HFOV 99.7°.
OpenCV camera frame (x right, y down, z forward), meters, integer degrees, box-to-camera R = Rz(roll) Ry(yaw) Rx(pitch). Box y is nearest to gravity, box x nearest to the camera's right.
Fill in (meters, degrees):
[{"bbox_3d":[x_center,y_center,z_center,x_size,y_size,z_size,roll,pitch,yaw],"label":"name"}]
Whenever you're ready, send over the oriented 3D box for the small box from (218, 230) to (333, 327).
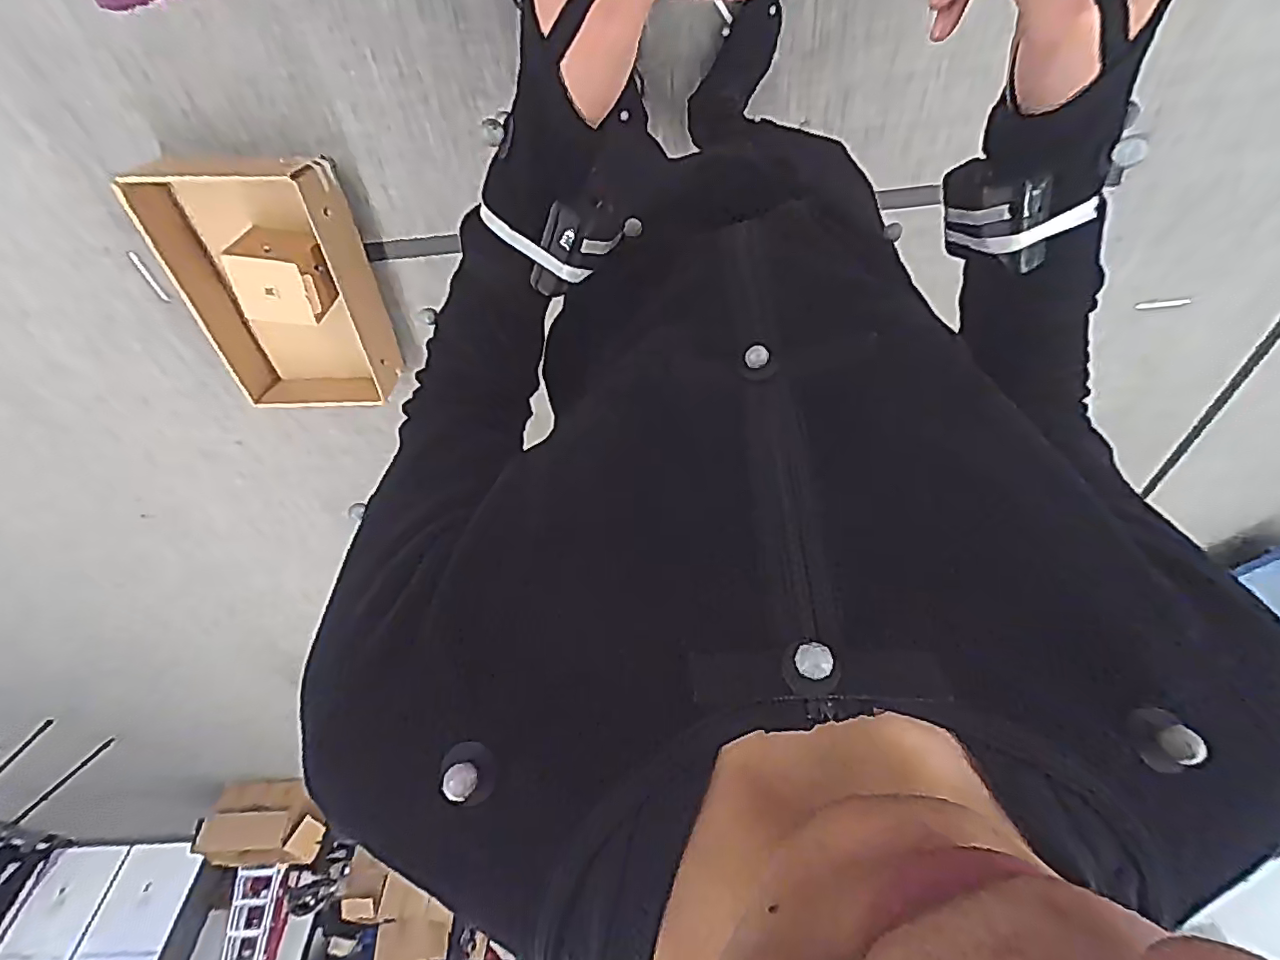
[{"bbox_3d":[-0.899,-0.509,1.361,0.179,0.176,0.168,4,135,-7],"label":"small box"}]
